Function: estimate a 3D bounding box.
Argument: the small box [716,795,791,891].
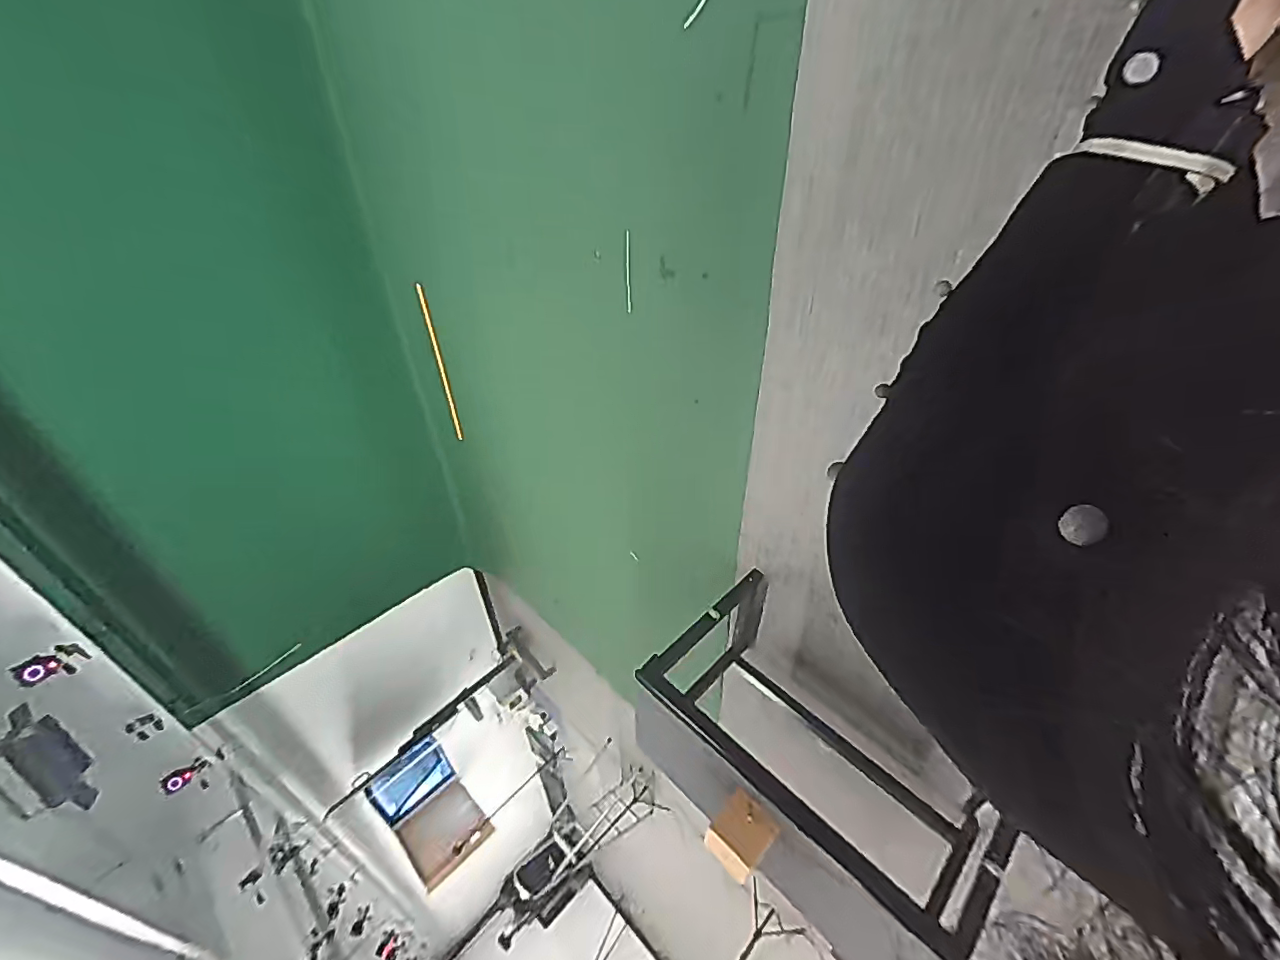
[{"bbox_3d":[0.366,1.170,1.749,0.168,0.176,0.179,33,140,32],"label":"small box"}]
